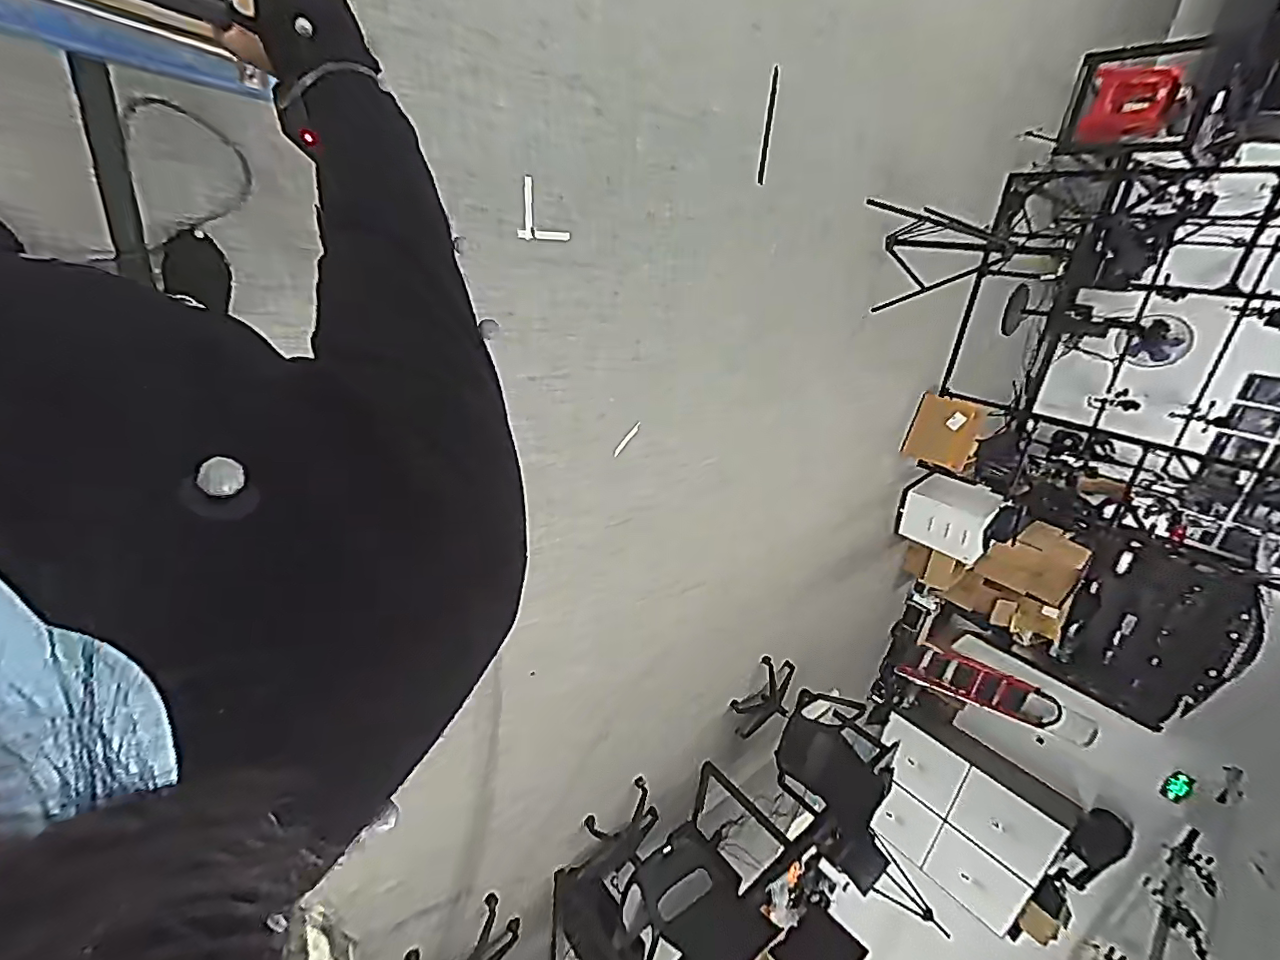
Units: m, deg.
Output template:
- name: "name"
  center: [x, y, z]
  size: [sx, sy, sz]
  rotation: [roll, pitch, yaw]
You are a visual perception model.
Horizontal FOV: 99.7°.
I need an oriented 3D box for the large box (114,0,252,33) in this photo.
- name: "large box"
  center: [-0.731, -0.806, 0.631]
  size: [0.408, 0.320, 0.320]
  rotation: [-11, 120, -42]
